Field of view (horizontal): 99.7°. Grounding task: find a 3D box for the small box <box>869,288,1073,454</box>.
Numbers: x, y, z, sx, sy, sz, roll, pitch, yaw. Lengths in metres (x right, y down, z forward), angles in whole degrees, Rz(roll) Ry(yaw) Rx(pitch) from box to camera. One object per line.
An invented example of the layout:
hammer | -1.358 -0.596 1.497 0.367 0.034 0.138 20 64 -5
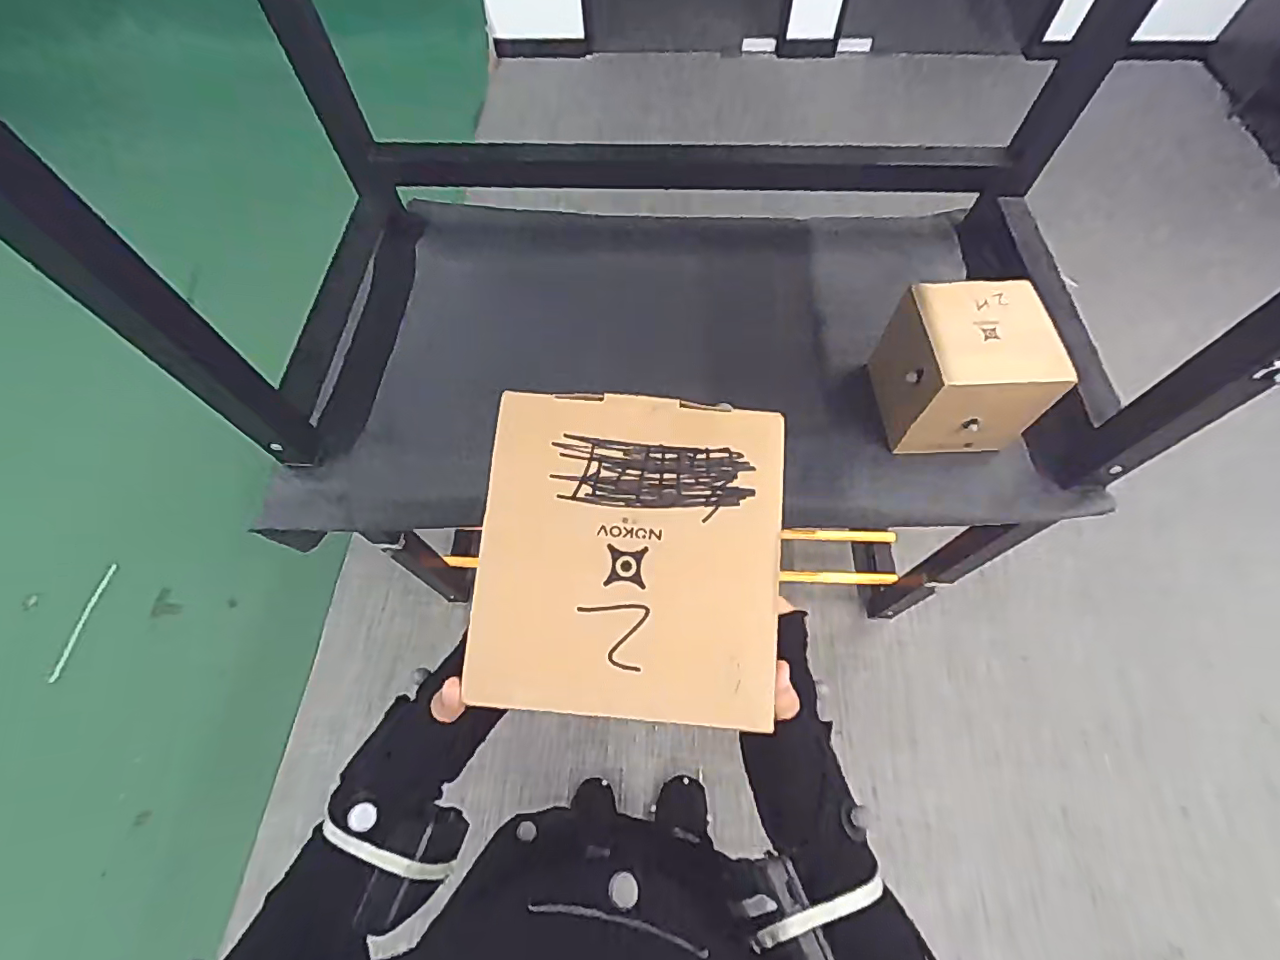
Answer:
small box | 0.452 -0.147 0.773 0.168 0.176 0.179 -1 62 0
